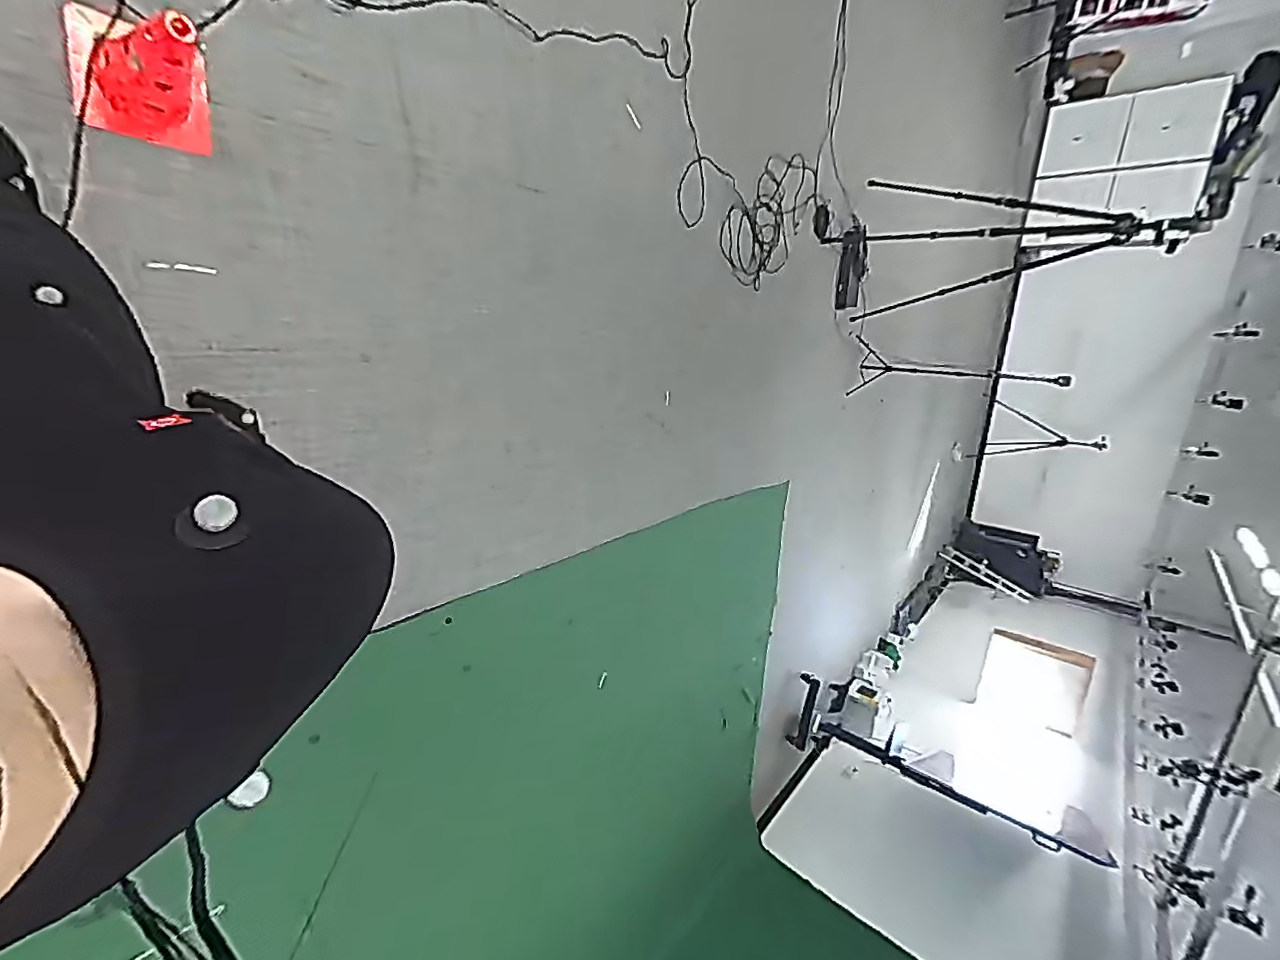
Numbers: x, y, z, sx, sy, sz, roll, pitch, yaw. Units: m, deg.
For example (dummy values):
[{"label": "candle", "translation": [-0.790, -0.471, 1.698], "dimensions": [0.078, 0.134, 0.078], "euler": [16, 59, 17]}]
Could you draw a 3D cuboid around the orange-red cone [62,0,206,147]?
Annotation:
[{"label": "orange-red cone", "translation": [-0.836, -0.736, 0.930], "dimensions": [0.198, 0.360, 0.199], "euler": [-8, 109, -48]}]

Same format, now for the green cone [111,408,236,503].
[{"label": "green cone", "translation": [-0.893, -0.024, 1.090], "dimensions": [0.200, 0.368, 0.202], "euler": [-12, 110, -49]}]
